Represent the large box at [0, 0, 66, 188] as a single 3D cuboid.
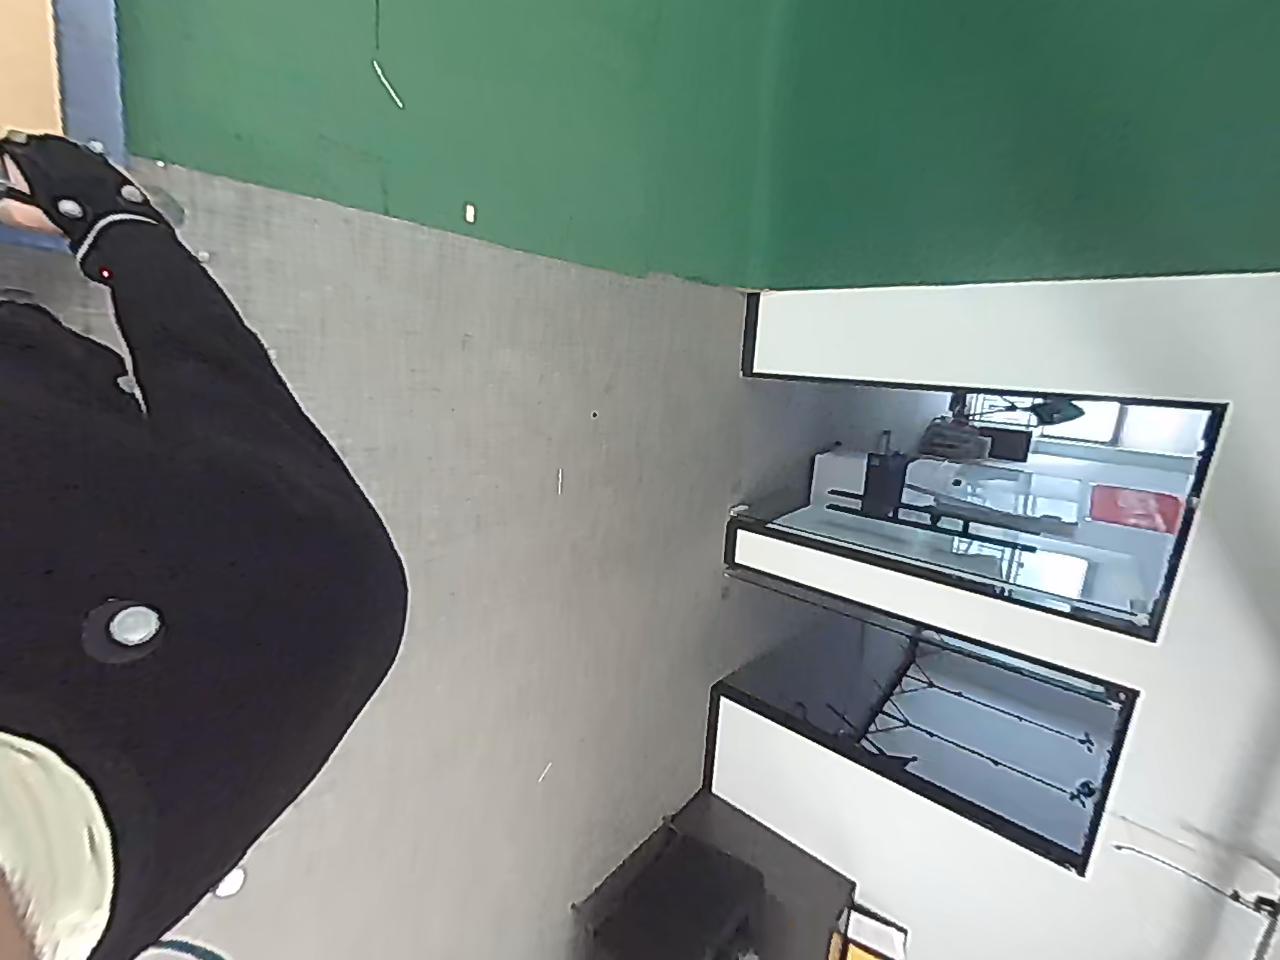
[{"bbox_3d":[-1.022,-0.667,0.715,0.320,0.320,0.408,-8,106,-50],"label":"large box"}]
